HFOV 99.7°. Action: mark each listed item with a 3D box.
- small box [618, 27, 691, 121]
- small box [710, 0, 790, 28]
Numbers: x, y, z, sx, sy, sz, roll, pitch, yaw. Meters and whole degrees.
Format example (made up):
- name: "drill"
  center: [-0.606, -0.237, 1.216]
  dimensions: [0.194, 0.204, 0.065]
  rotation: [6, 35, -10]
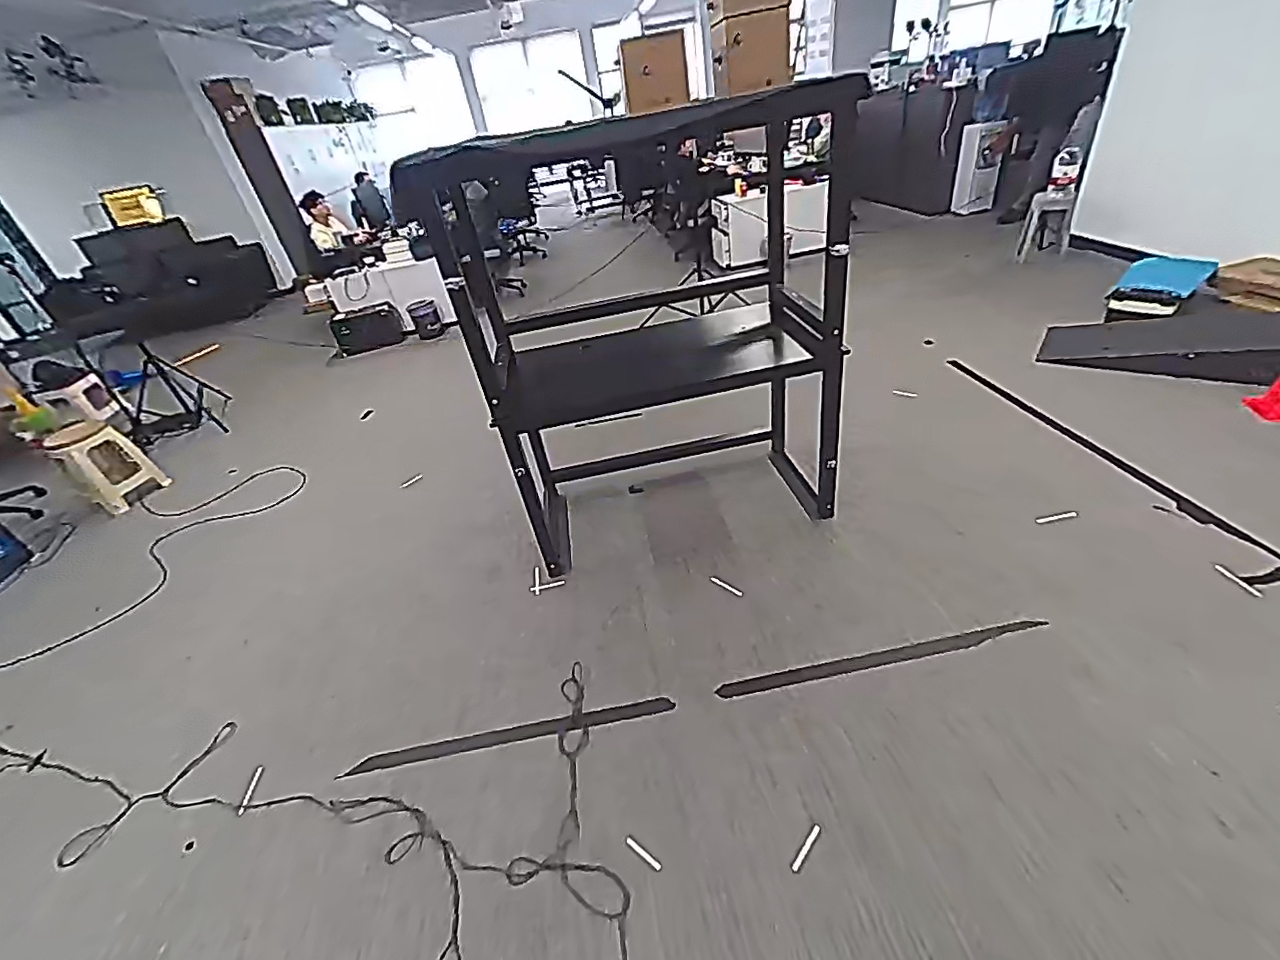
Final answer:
- name: "small box"
  center: [0.039, -1.074, 1.442]
  dimensions: [0.168, 0.176, 0.179]
  rotation: [-10, 33, 1]
- name: "small box"
  center: [0.269, -1.248, 1.337]
  dimensions: [0.179, 0.176, 0.168]
  rotation: [-13, 32, 0]
